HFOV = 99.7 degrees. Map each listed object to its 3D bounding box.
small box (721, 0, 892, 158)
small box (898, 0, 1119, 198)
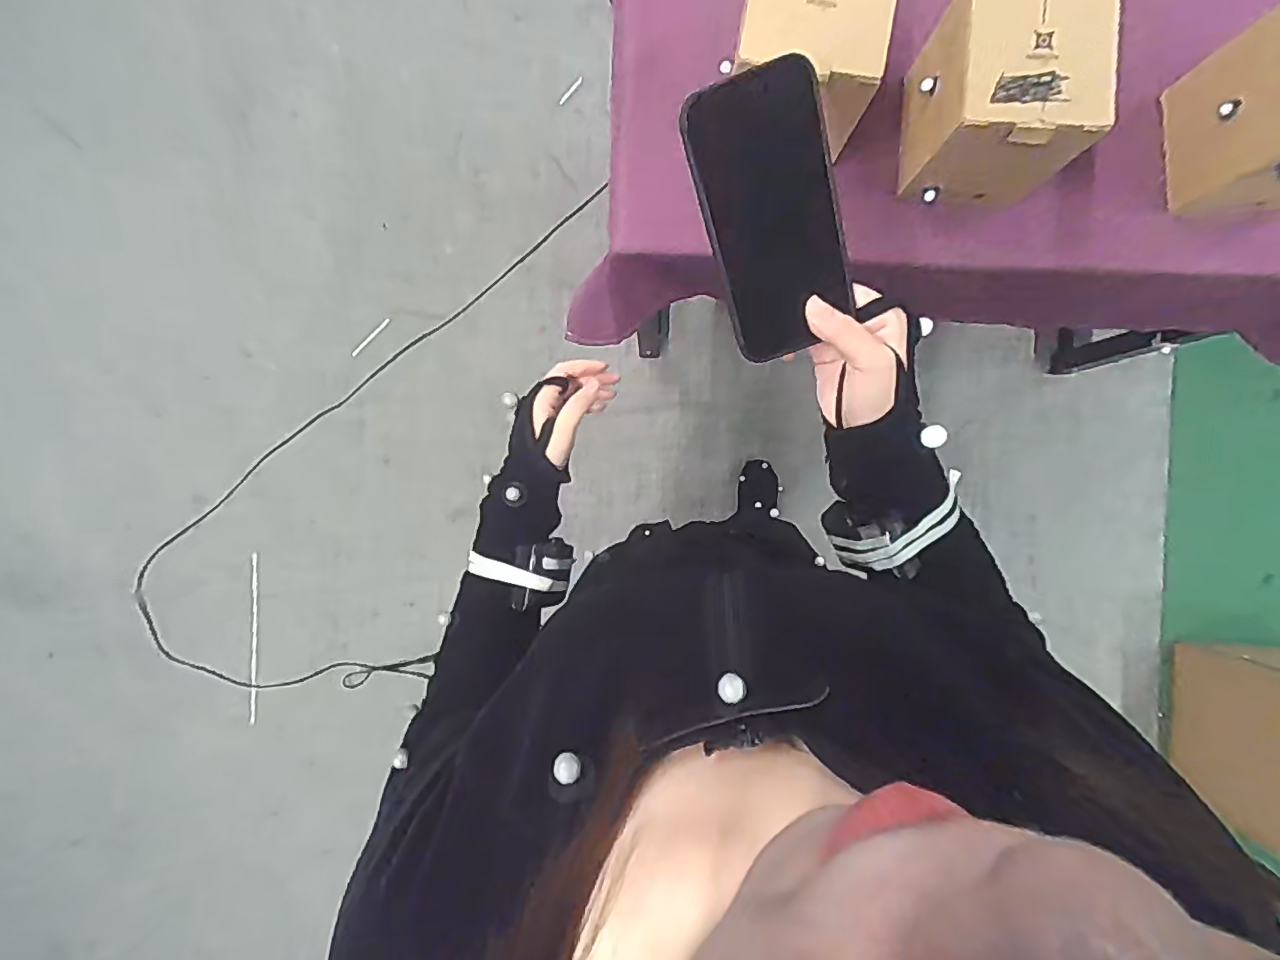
[{"bbox_3d":[0.202,-0.545,0.683,0.168,0.176,0.179,10,91,1],"label":"small box"},{"bbox_3d":[0.443,-0.480,0.677,0.168,0.176,0.179,3,89,1],"label":"small box"}]
